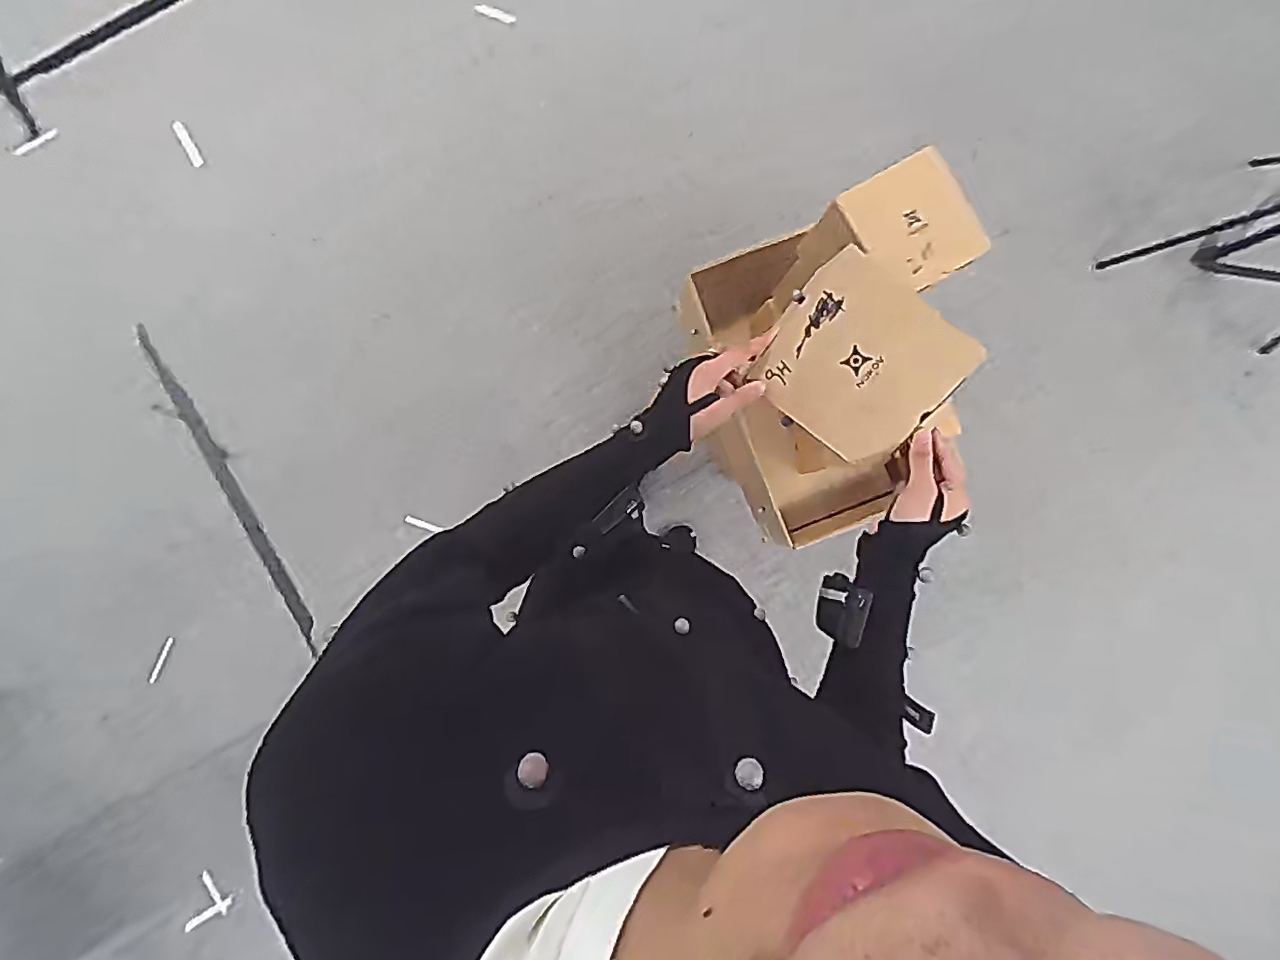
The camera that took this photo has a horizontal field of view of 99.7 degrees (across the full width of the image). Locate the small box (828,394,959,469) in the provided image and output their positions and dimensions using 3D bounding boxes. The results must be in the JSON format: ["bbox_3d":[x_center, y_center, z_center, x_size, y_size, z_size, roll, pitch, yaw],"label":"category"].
[{"bbox_3d":[0.436,-0.124,0.998,0.179,0.176,0.168,-17,87,-3],"label":"small box"}]

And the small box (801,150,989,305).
[{"bbox_3d":[0.378,-0.352,0.838,0.168,0.176,0.179,-29,90,-2],"label":"small box"}]

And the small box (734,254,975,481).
[{"bbox_3d":[0.226,-0.130,0.622,0.179,0.176,0.168,37,107,-2],"label":"small box"}]
